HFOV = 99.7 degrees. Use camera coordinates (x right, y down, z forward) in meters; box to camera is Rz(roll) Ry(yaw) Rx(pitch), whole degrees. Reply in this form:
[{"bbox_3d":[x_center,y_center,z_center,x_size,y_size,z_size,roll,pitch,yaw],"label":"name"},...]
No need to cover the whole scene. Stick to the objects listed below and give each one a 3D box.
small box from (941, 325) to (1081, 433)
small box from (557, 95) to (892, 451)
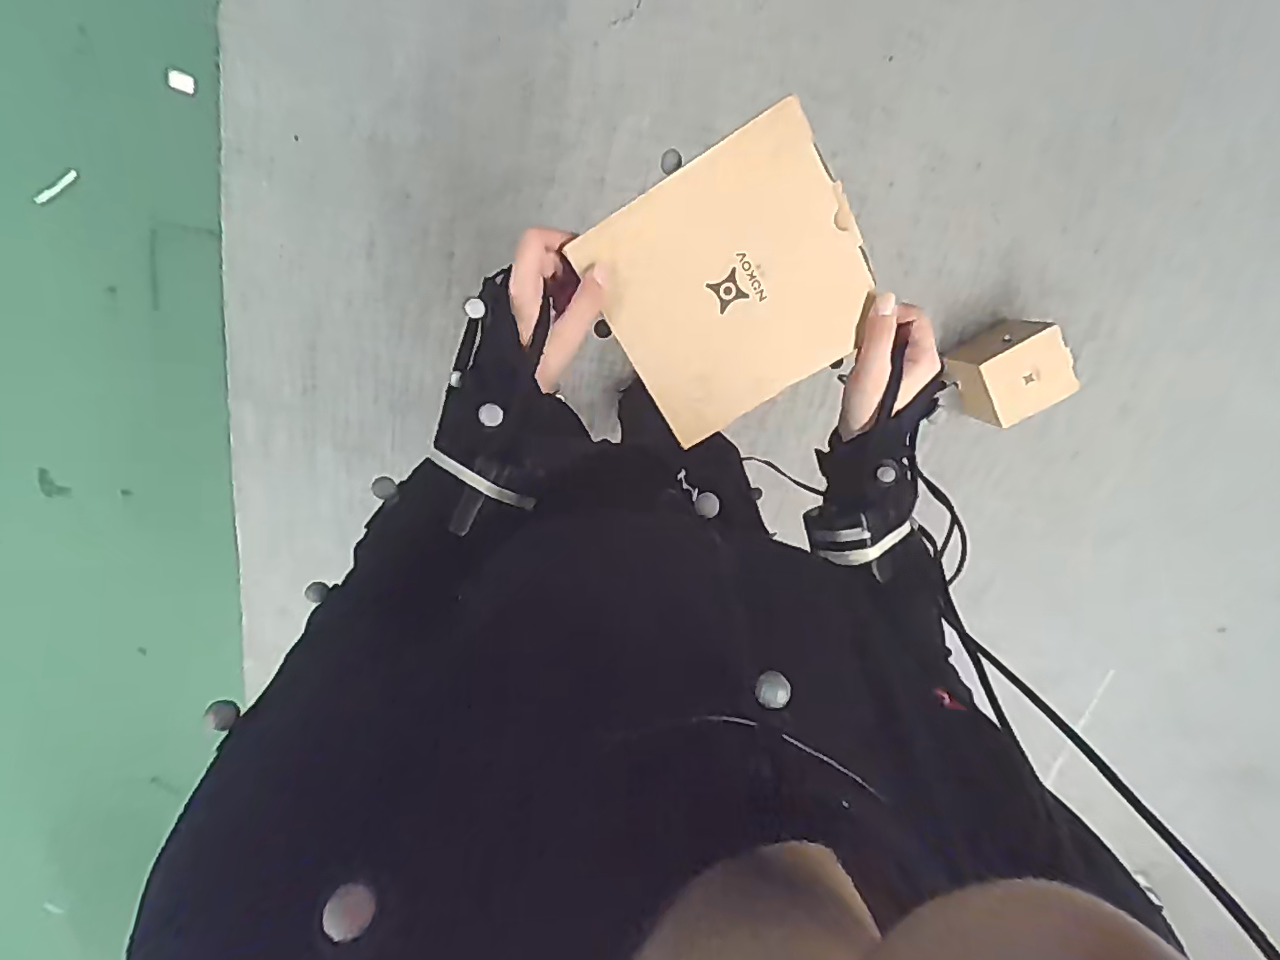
[{"bbox_3d":[0.828,-0.235,1.221,0.179,0.176,0.168,-30,106,10],"label":"small box"},{"bbox_3d":[0.058,-0.150,0.438,0.179,0.176,0.168,-32,106,8],"label":"small box"}]
